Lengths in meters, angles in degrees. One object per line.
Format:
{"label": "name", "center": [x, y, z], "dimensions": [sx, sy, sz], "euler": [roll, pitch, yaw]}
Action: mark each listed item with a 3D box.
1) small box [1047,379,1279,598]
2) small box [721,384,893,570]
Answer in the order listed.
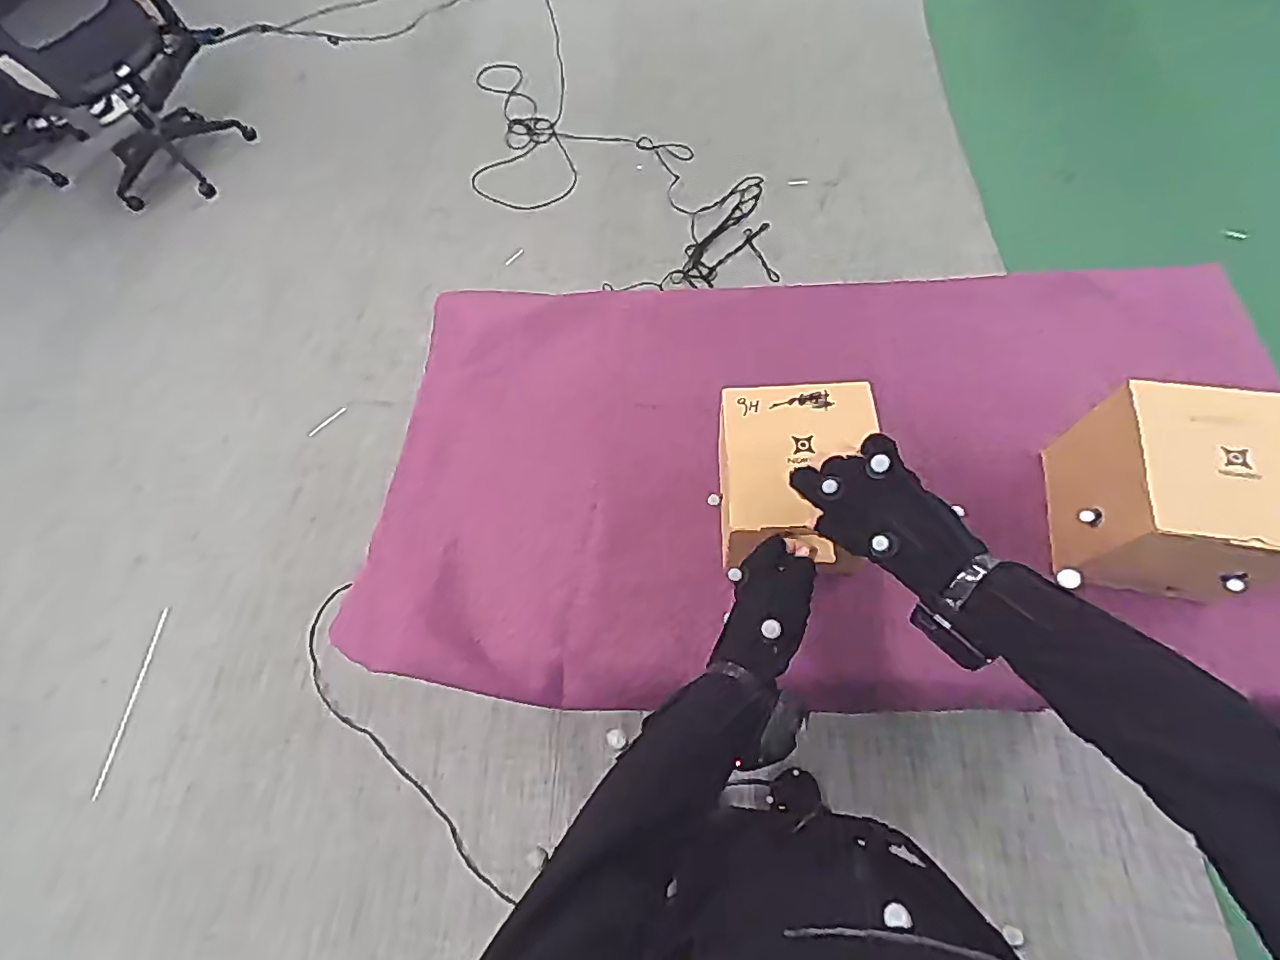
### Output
{"label": "small box", "center": [0.583, 0.017, 0.591], "dimensions": [0.168, 0.176, 0.179], "euler": [9, 66, 11]}
{"label": "small box", "center": [0.183, 0.006, 0.649], "dimensions": [0.168, 0.176, 0.179], "euler": [-2, 65, 6]}
